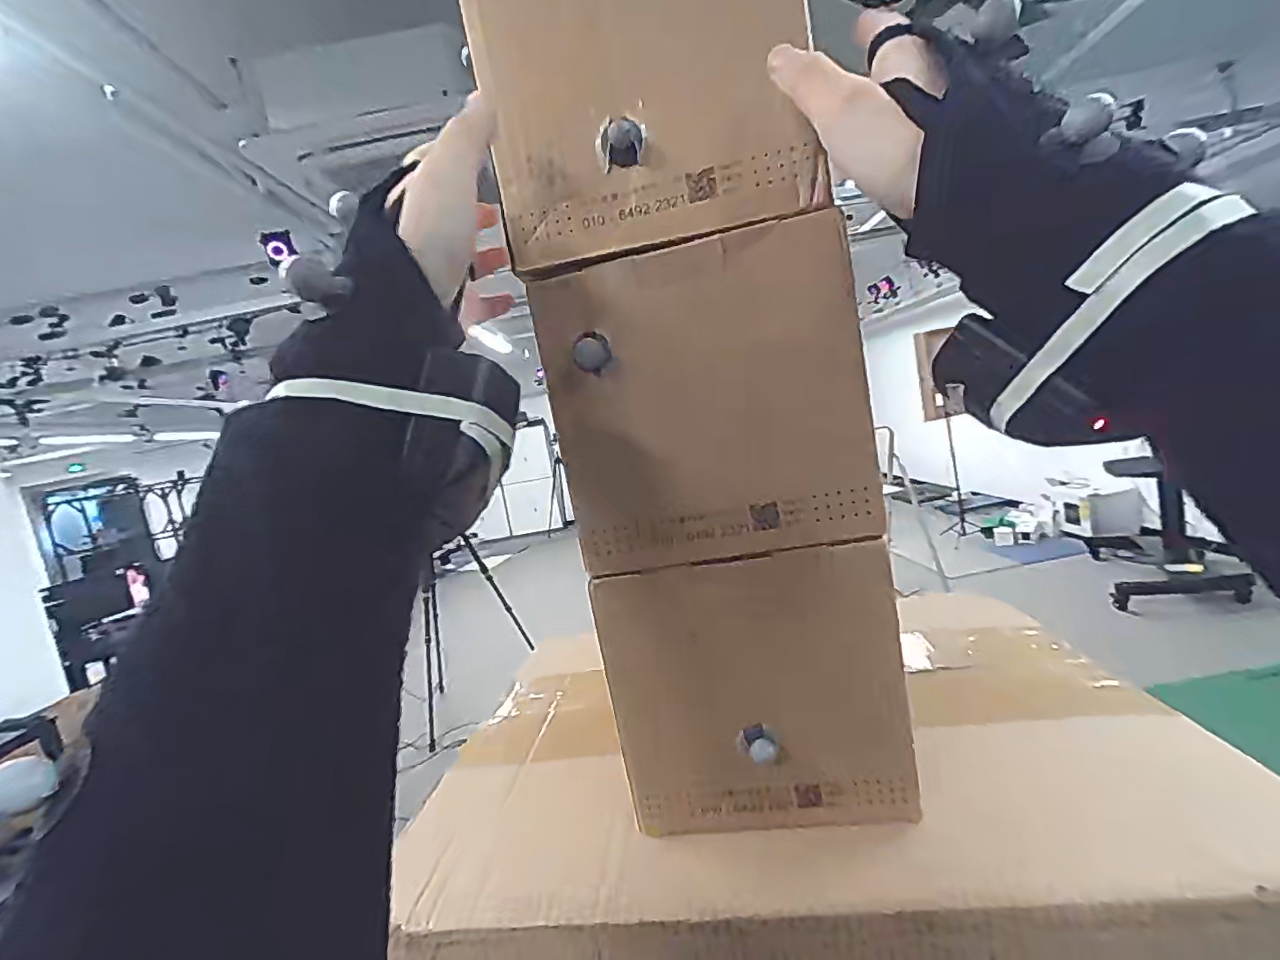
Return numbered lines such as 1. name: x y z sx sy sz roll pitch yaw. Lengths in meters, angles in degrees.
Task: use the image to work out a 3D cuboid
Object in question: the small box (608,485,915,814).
1. small box: 0.084 0.109 0.400 0.168 0.176 0.179 -9 8 9
